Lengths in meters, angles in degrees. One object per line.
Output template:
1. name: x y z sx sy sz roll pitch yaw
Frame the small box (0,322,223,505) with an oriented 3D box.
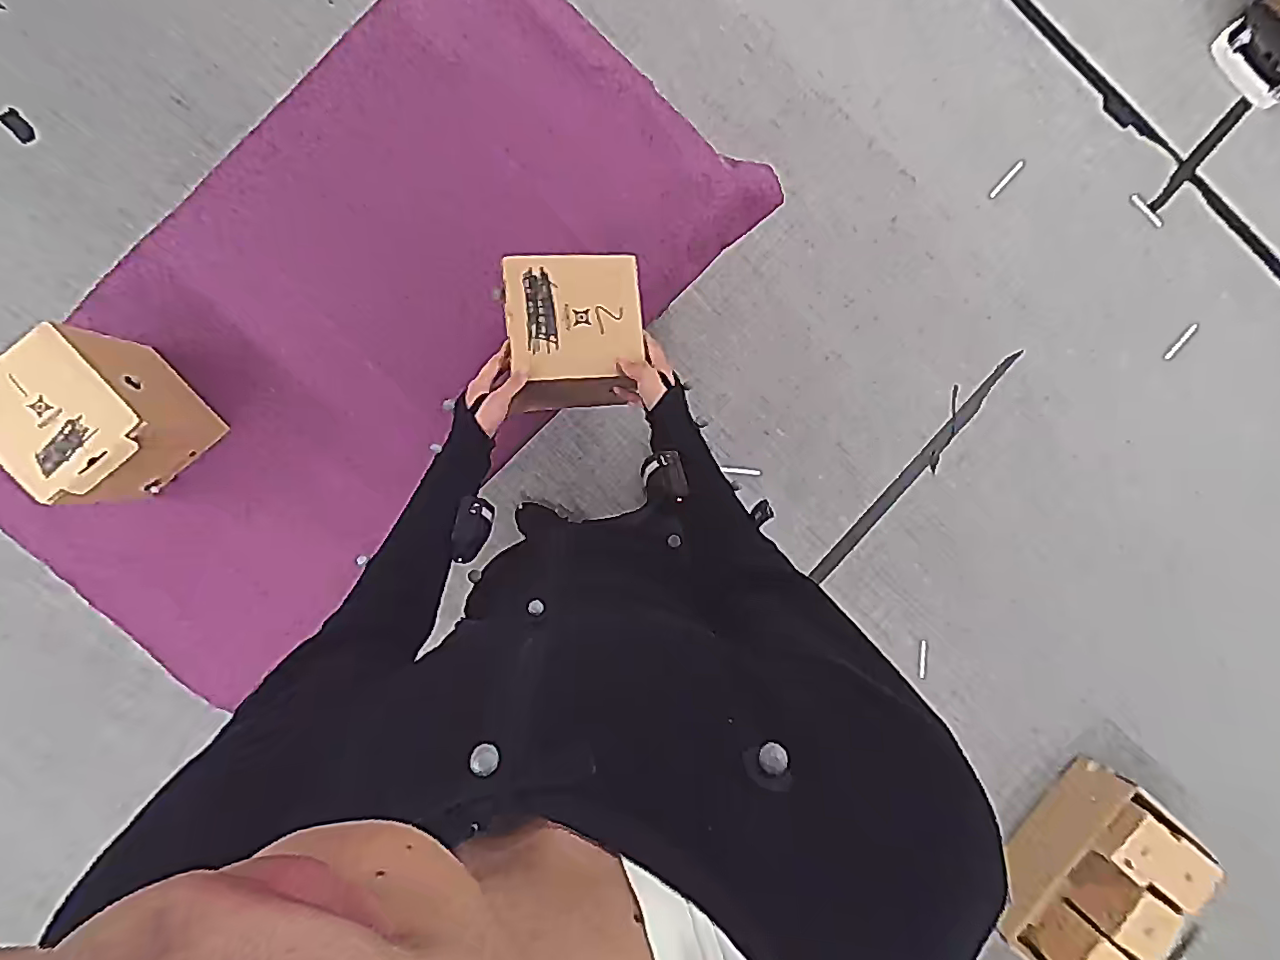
1. small box: -0.756 -0.089 0.763 0.168 0.176 0.179 -42 95 -3
